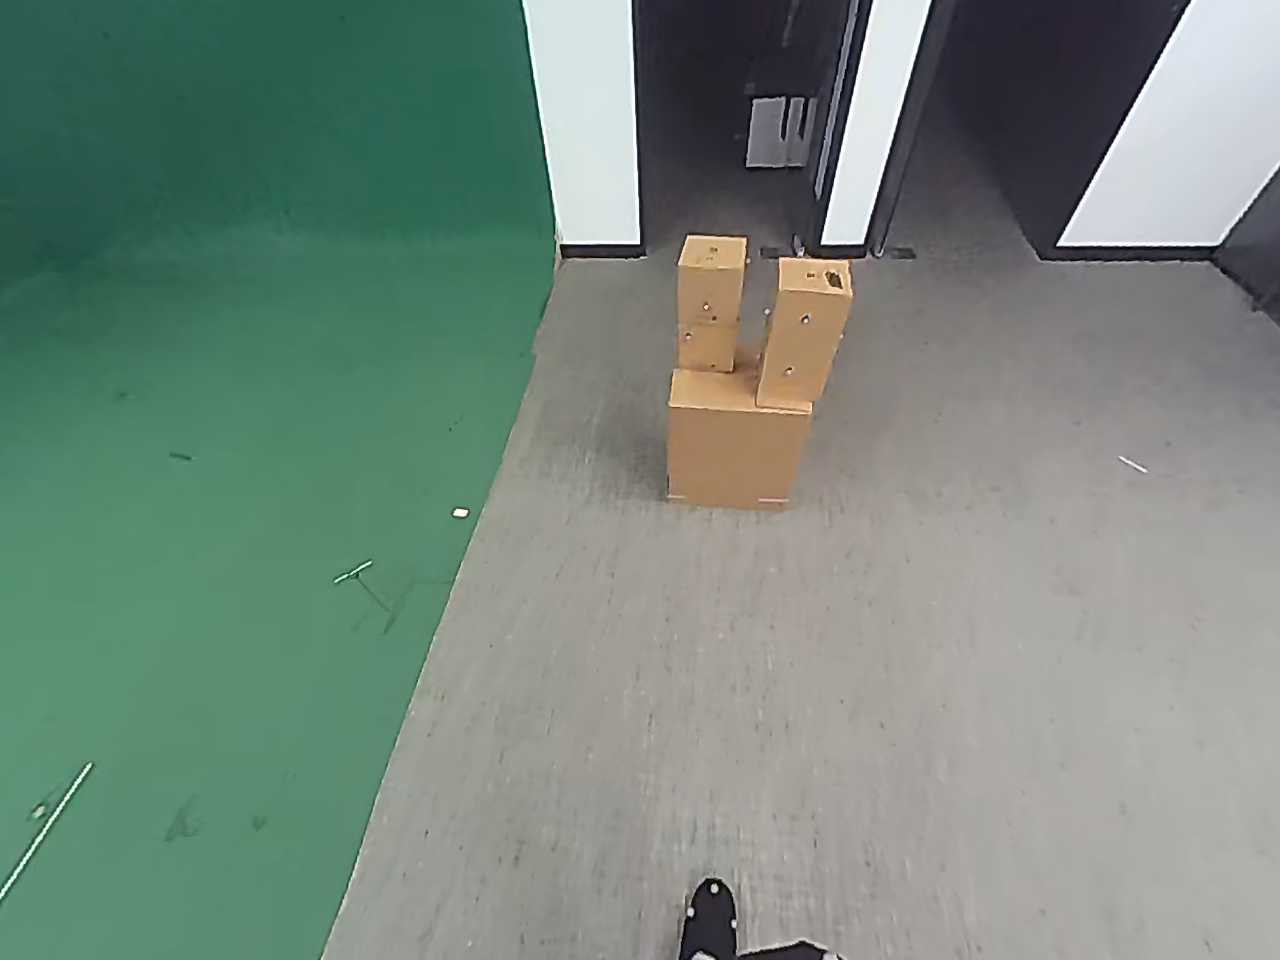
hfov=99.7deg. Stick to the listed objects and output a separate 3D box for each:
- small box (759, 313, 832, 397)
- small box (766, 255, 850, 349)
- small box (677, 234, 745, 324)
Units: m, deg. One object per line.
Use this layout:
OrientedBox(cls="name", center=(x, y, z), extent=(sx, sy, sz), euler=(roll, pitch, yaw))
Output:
OrientedBox(cls="small box", center=(0.431, -0.352, 1.524), extent=(0.179, 0.176, 0.168), euler=(5, 52, 8))
OrientedBox(cls="small box", center=(0.428, -0.458, 1.399), extent=(0.179, 0.176, 0.168), euler=(6, 50, 8))
OrientedBox(cls="small box", center=(0.195, -0.558, 1.502), extent=(0.168, 0.176, 0.179), euler=(7, 51, 10))
